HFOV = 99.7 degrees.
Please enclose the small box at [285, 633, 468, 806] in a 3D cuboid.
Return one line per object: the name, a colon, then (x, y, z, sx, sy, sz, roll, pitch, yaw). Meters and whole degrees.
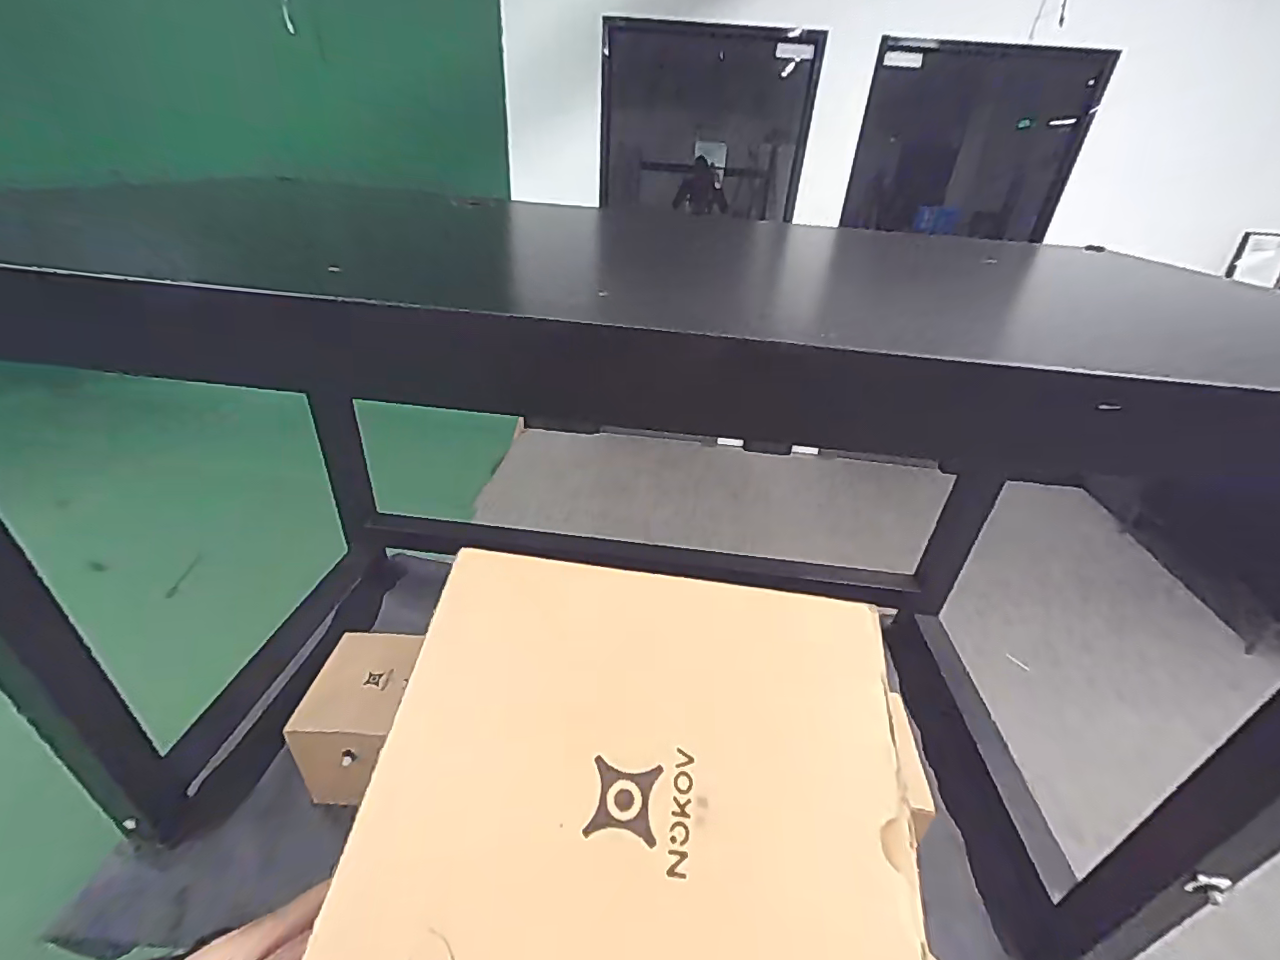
small box: (-0.366, 0.348, 0.789, 0.179, 0.176, 0.168, 4, 31, -1)
